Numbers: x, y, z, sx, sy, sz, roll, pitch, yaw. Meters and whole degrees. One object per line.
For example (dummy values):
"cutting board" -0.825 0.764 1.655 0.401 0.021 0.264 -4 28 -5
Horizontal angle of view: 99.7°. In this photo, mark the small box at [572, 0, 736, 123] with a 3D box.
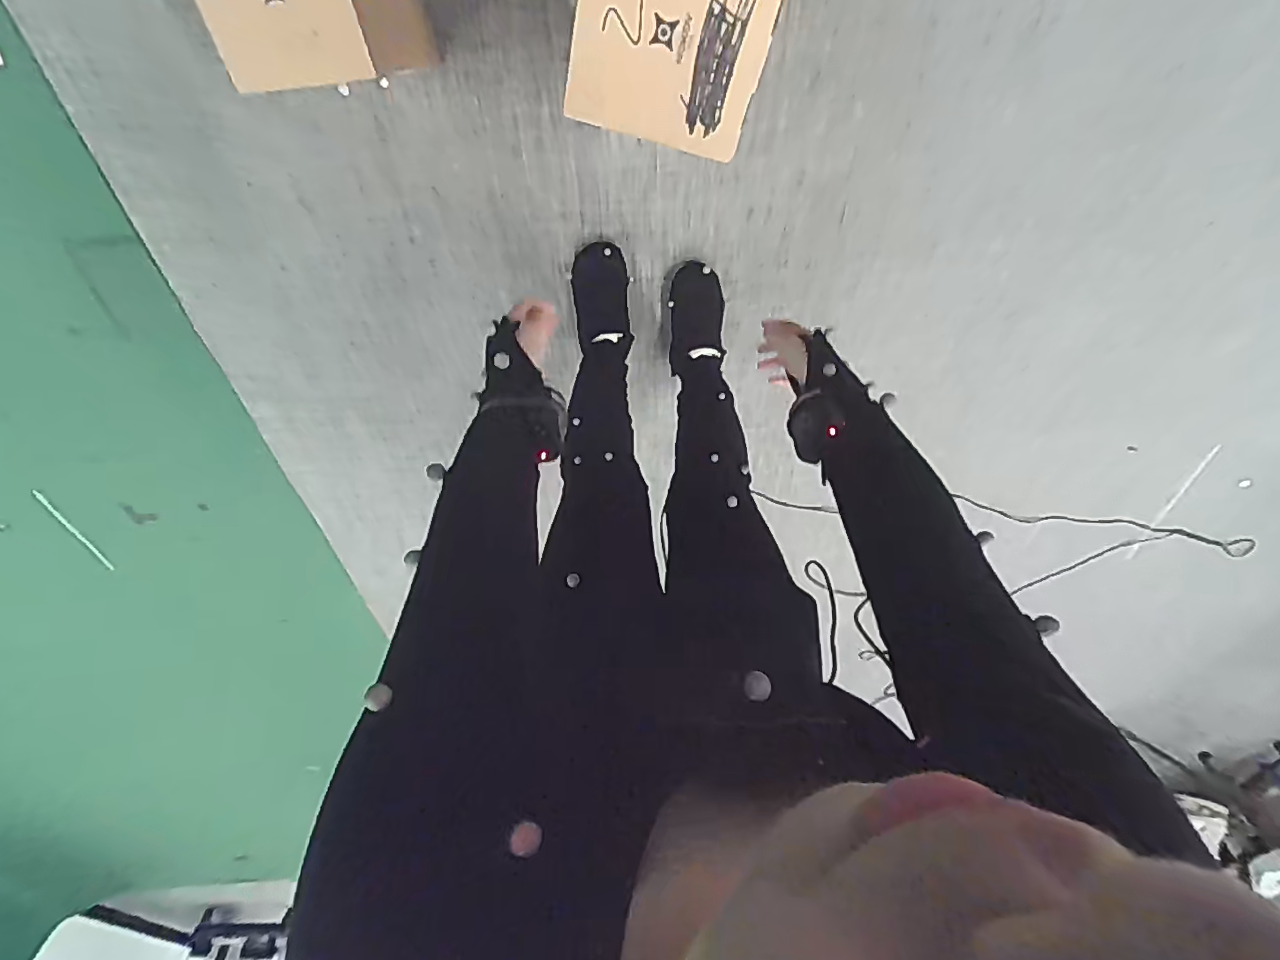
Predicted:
"small box" 0.016 -0.562 0.650 0.168 0.176 0.179 8 130 -10

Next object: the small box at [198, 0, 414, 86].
"small box" -0.385 -0.571 0.617 0.168 0.176 0.179 -6 131 3

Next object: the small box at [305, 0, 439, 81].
"small box" -0.399 -0.671 0.744 0.168 0.176 0.179 -6 130 2
